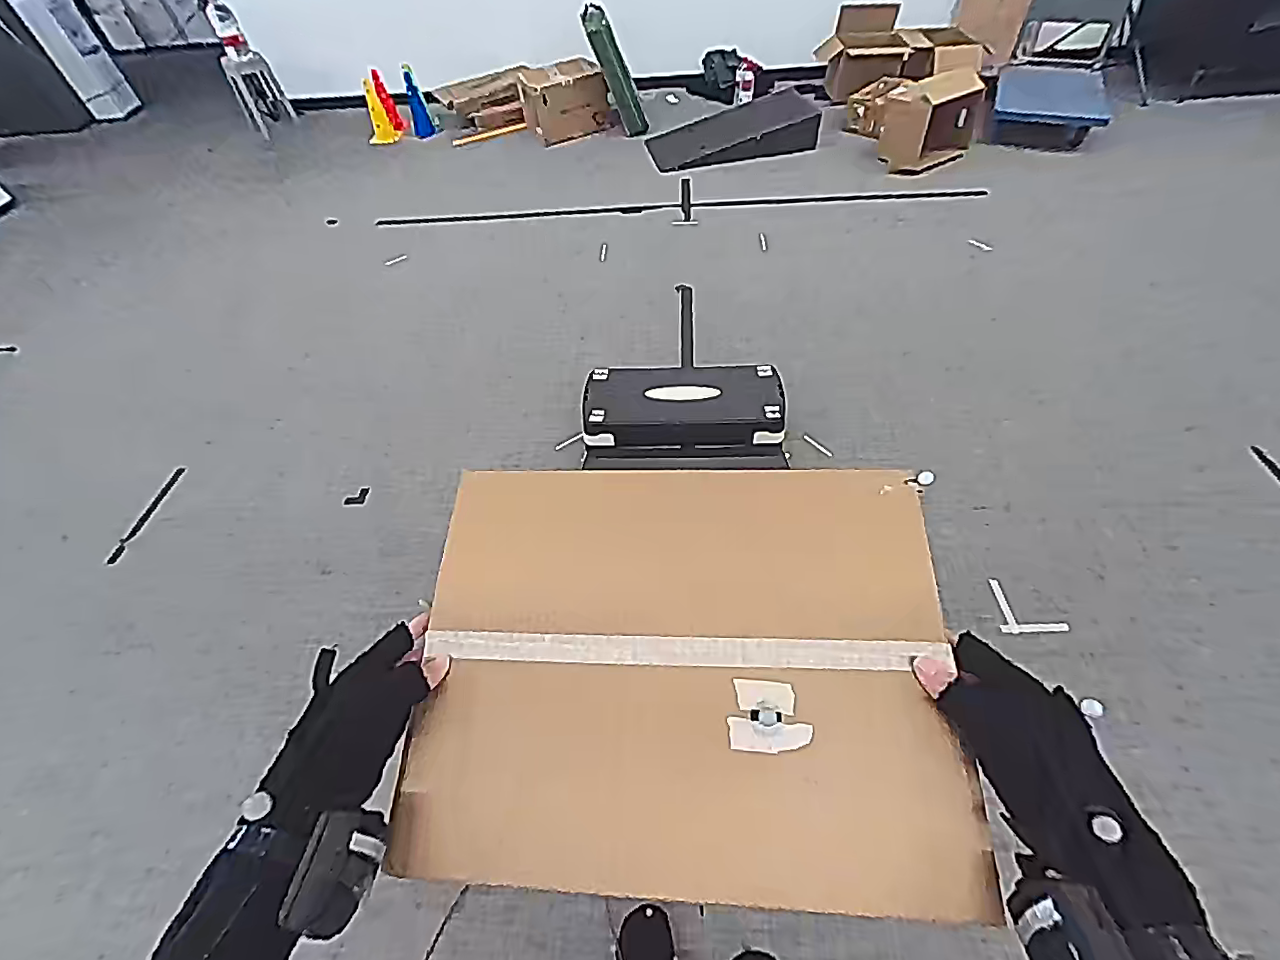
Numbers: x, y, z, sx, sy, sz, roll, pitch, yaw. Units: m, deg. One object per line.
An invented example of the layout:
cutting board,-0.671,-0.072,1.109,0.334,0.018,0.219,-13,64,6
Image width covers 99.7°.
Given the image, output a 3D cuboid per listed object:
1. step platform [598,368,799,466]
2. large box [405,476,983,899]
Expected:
step platform,0.196,-0.223,1.873,0.684,0.204,0.286,-1,52,3
large box,0.044,0.202,0.565,0.408,0.320,0.320,0,64,6
